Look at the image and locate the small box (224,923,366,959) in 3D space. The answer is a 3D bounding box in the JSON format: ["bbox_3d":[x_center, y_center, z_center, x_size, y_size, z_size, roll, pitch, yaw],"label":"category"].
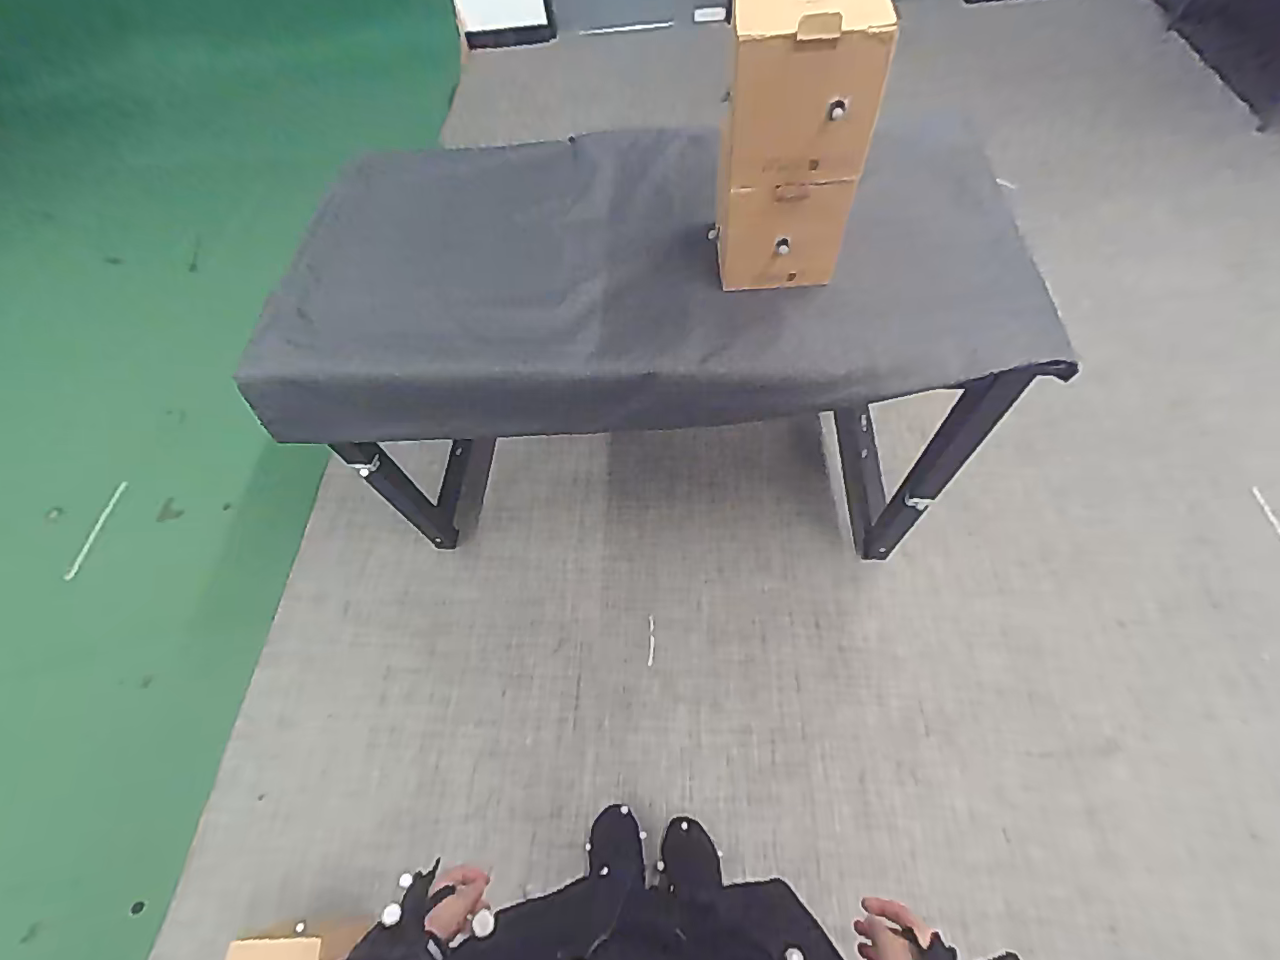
[{"bbox_3d":[-0.627,0.916,0.971,0.179,0.176,0.168,-5,59,4],"label":"small box"}]

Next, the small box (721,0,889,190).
[{"bbox_3d":[0.191,-0.487,0.678,0.168,0.176,0.179,1,59,5],"label":"small box"}]

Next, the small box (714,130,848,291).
[{"bbox_3d":[0.200,-0.405,0.818,0.168,0.176,0.179,-2,60,4],"label":"small box"}]
